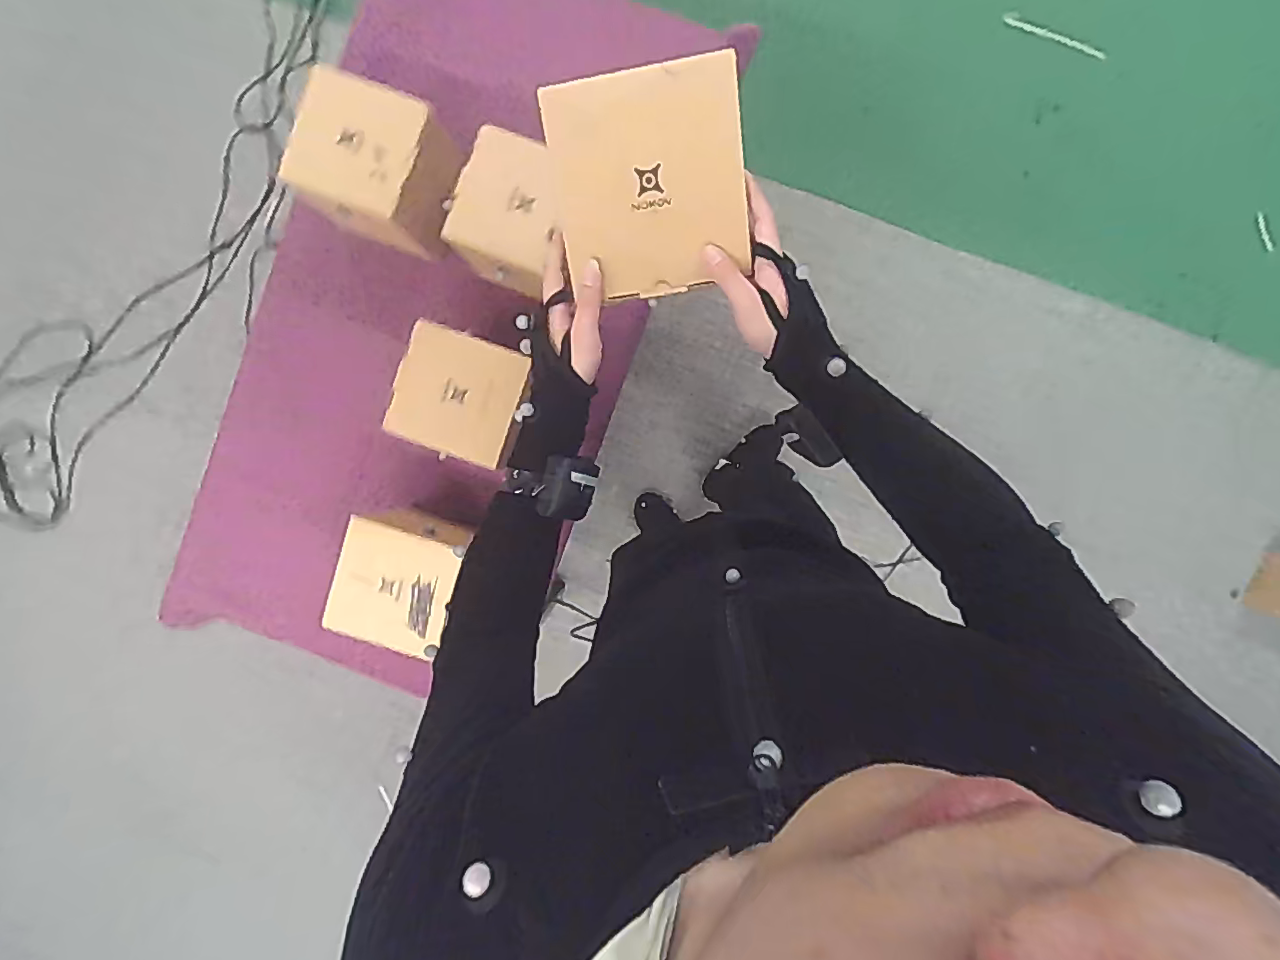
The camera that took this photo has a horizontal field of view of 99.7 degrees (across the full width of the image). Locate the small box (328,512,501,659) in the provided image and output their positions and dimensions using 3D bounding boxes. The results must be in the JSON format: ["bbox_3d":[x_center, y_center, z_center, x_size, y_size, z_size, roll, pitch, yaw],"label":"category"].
[{"bbox_3d":[-0.340,0.152,0.851,0.179,0.176,0.168,17,92,5],"label":"small box"}]

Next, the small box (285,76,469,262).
[{"bbox_3d":[-0.392,-0.466,0.841,0.179,0.176,0.168,21,93,2],"label":"small box"}]

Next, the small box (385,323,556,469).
[{"bbox_3d":[-0.252,-0.120,0.843,0.179,0.176,0.168,20,93,2],"label":"small box"}]

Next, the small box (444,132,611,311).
[{"bbox_3d":[-0.160,-0.381,0.829,0.179,0.176,0.168,22,93,3],"label":"small box"}]
